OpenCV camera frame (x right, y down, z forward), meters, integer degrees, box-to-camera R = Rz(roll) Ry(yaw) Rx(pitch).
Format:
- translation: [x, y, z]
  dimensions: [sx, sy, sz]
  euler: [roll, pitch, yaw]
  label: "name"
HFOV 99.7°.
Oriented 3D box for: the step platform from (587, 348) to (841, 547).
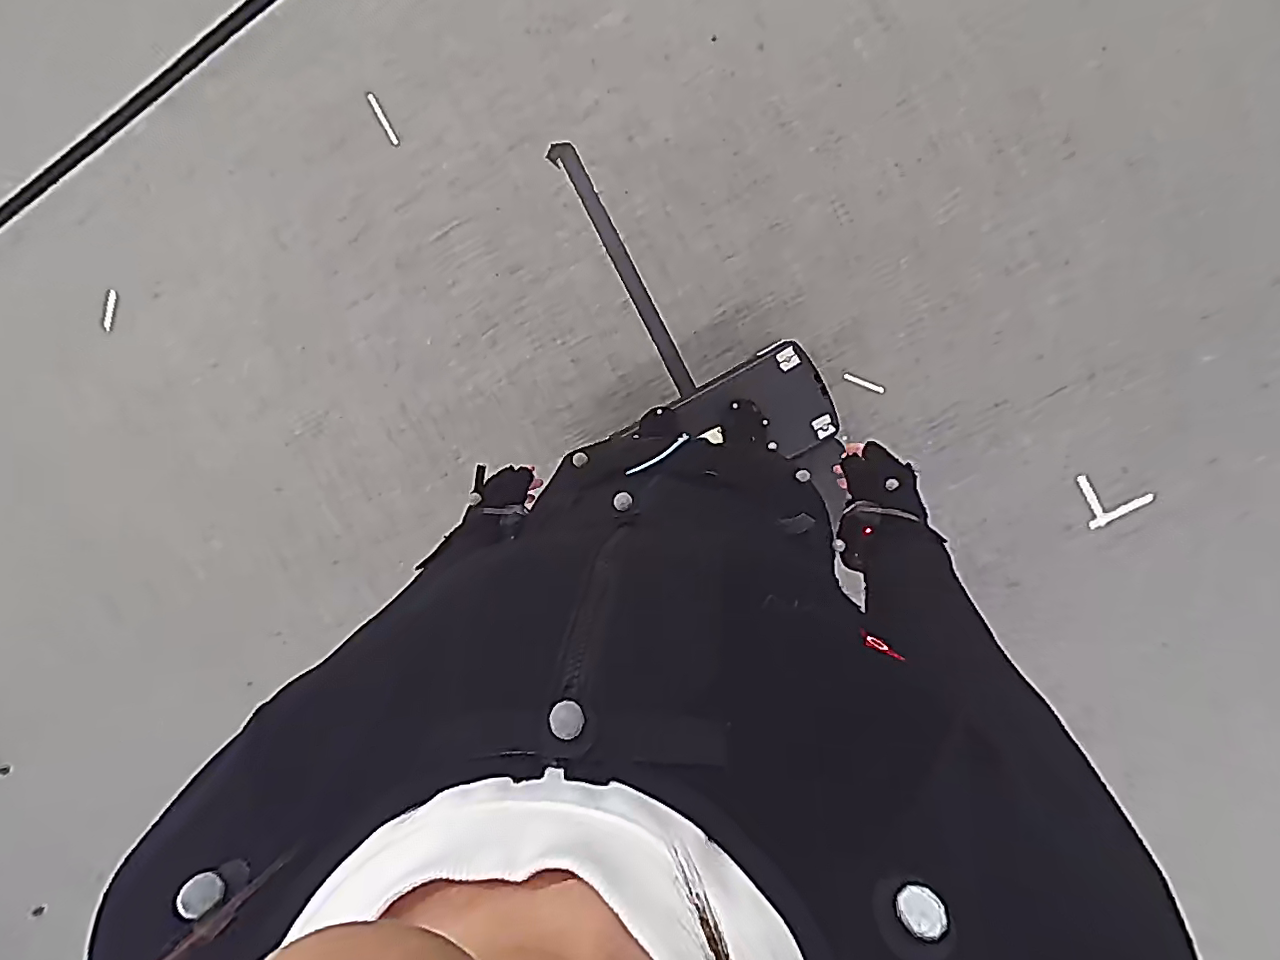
- translation: [0.192, -0.086, 1.505]
  dimensions: [0.684, 0.204, 0.286]
  euler: [-29, 96, 9]
  label: "step platform"
